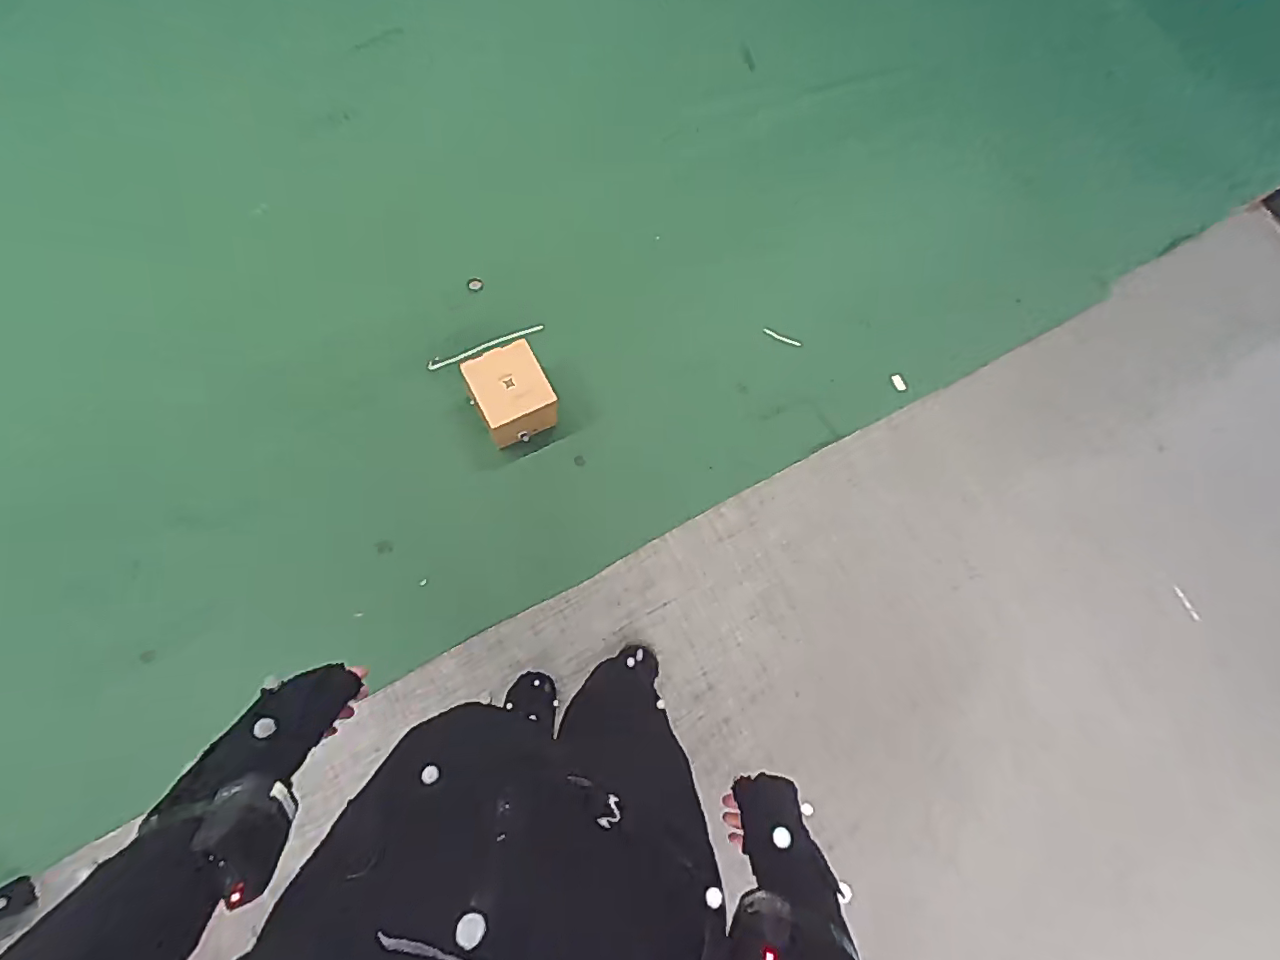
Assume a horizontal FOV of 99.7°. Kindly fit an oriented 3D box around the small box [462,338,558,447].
[{"bbox_3d":[-0.305,-0.203,1.292,0.168,0.176,0.179,-25,81,-13],"label":"small box"}]
